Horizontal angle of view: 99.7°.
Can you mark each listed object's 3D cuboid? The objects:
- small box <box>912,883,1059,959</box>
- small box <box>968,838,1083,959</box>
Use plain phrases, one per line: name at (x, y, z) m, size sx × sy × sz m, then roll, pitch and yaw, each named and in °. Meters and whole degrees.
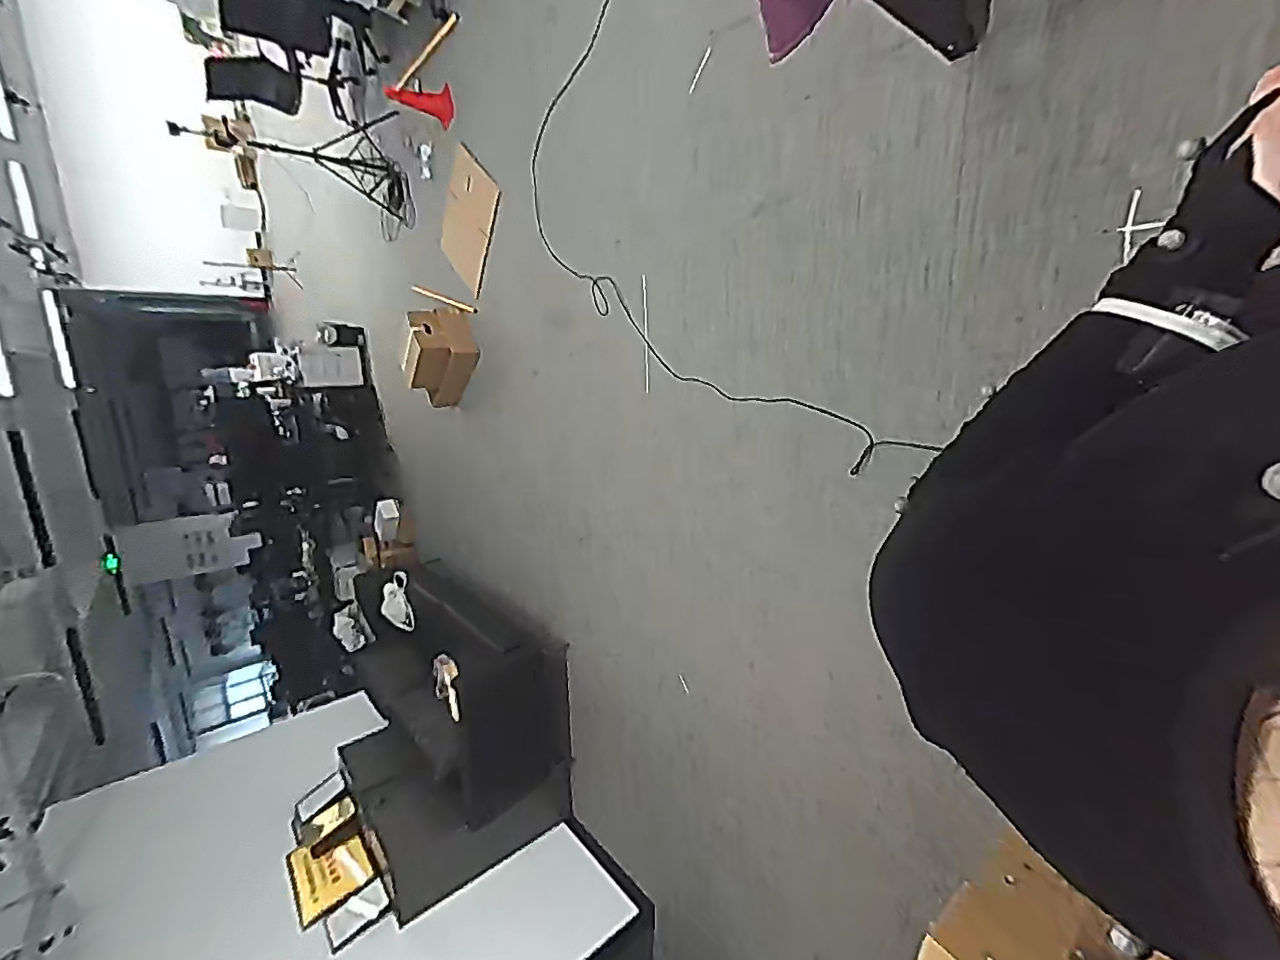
small box at (0.646, 0.918, 1.025) m, size 0.179 × 0.176 × 0.168 m, roll 25°, pitch 119°, yaw 46°
small box at (0.779, 0.899, 1.118) m, size 0.168 × 0.176 × 0.179 m, roll 25°, pitch 120°, yaw 47°
